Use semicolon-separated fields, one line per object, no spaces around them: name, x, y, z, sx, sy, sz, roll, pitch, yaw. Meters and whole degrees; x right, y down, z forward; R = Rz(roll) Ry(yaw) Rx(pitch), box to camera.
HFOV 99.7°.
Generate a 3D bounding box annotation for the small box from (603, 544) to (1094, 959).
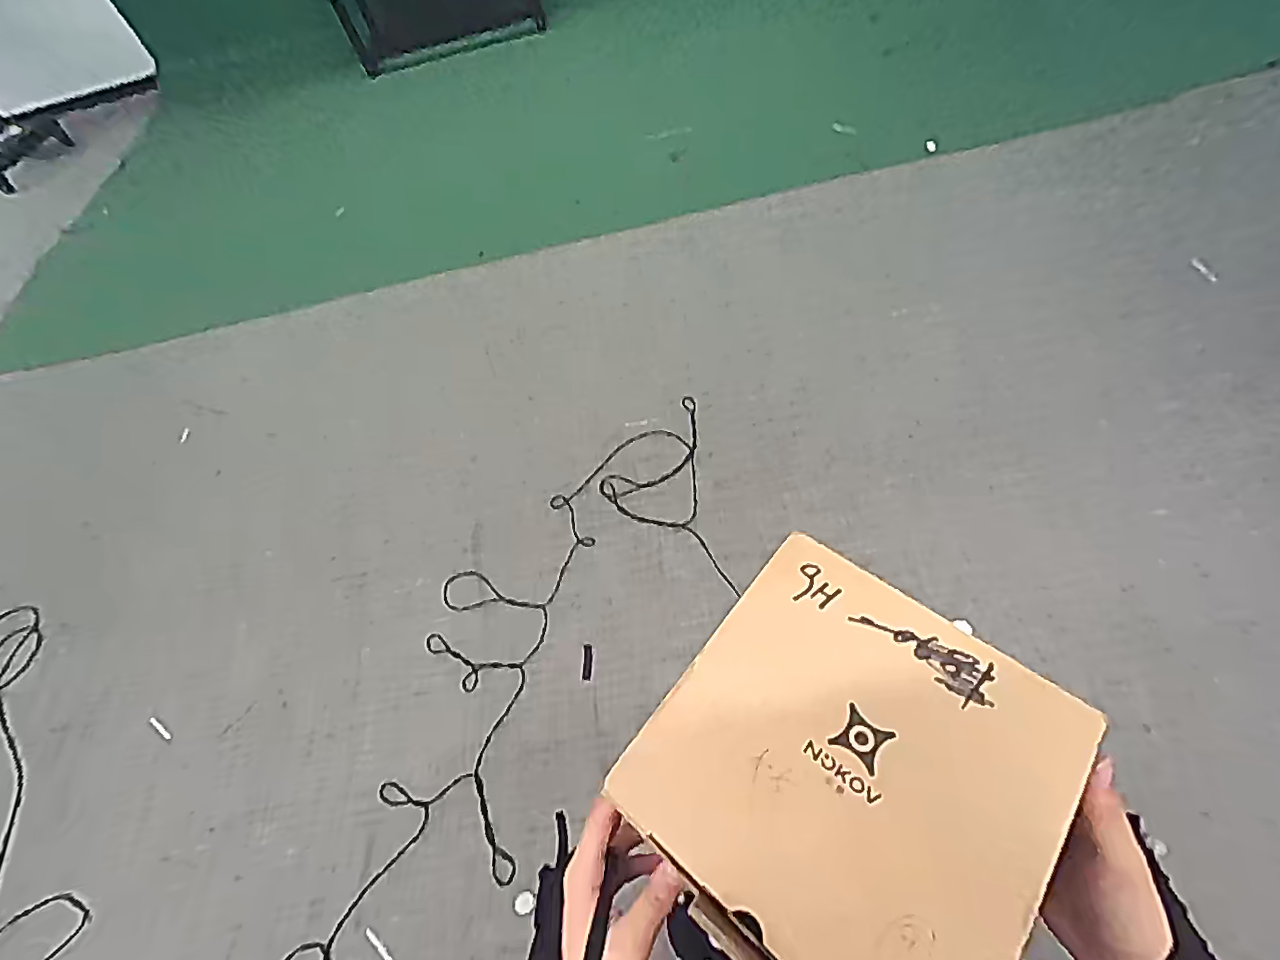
small box;0.106;0.178;0.323;0.168;0.176;0.179;33;67;25
